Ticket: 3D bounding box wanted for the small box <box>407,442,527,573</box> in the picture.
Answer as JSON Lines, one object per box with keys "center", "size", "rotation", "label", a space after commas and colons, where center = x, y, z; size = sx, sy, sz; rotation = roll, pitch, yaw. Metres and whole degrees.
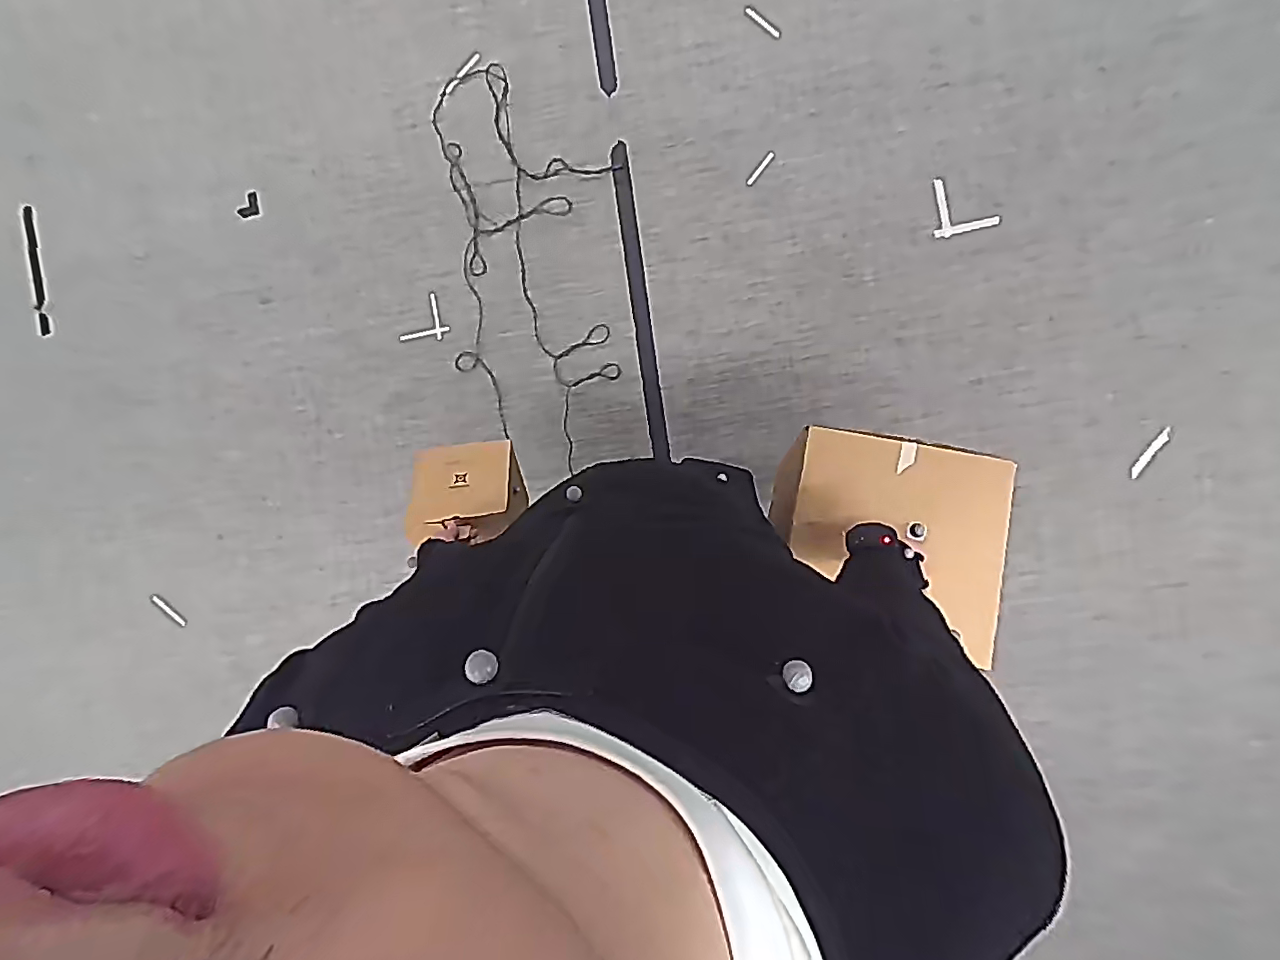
{"center": [-0.304, 0.056, 0.992], "size": [0.168, 0.179, 0.176], "rotation": [-7, 136, -4], "label": "small box"}
